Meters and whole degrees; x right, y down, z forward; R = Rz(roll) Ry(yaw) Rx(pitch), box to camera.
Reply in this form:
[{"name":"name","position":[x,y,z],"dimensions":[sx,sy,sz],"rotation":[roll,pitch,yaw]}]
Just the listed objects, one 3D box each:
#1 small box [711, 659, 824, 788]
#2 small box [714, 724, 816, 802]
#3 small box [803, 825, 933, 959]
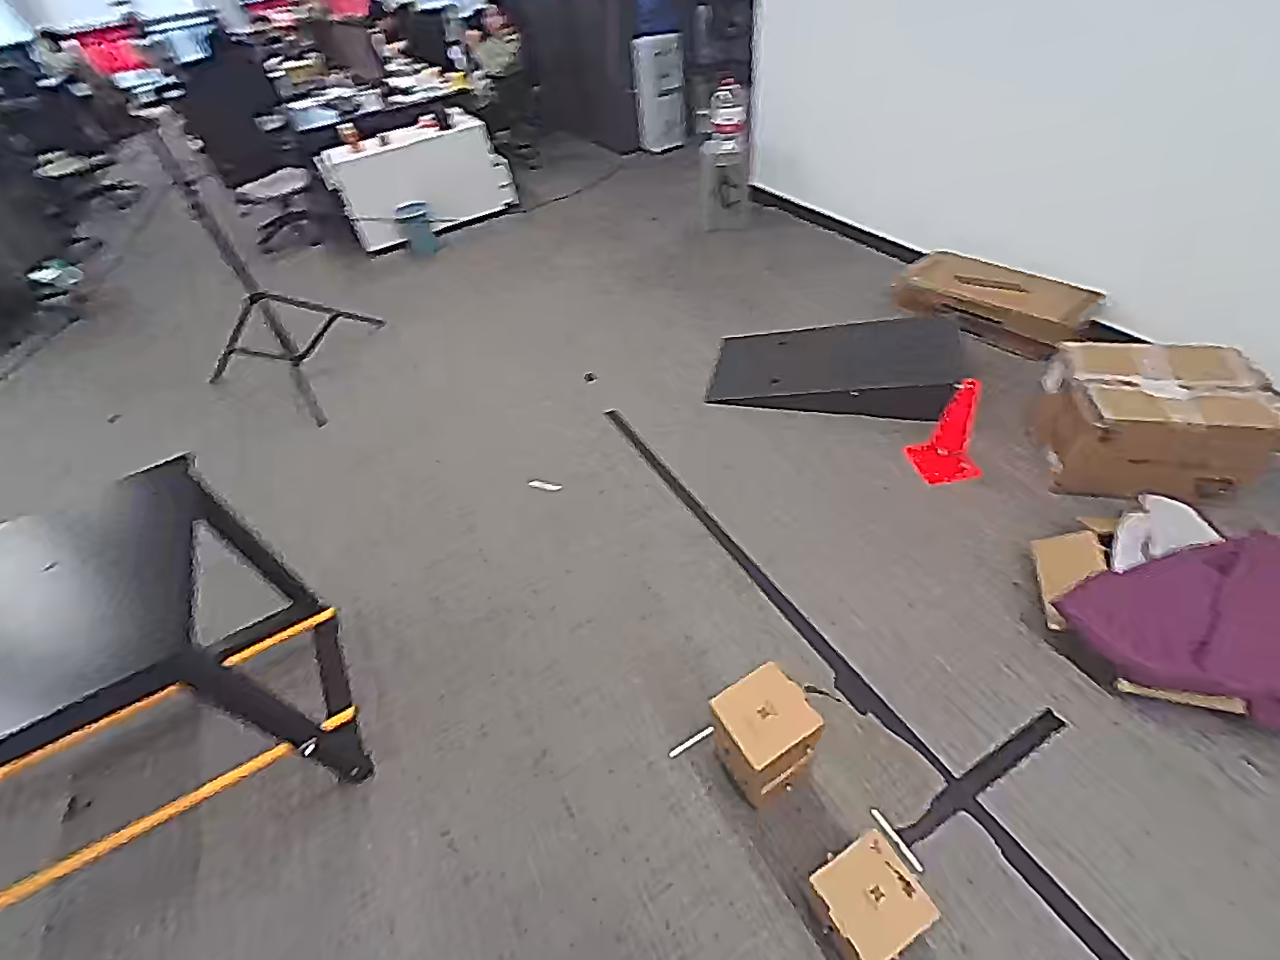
[{"name":"small box","position":[0.272,0.536,1.188],"dimensions":[0.179,0.176,0.168],"rotation":[-28,48,-15]},{"name":"small box","position":[0.295,0.646,1.305],"dimensions":[0.168,0.176,0.179],"rotation":[-27,49,-17]},{"name":"small box","position":[0.450,0.847,1.098],"dimensions":[0.179,0.176,0.168],"rotation":[-26,49,-14]}]
